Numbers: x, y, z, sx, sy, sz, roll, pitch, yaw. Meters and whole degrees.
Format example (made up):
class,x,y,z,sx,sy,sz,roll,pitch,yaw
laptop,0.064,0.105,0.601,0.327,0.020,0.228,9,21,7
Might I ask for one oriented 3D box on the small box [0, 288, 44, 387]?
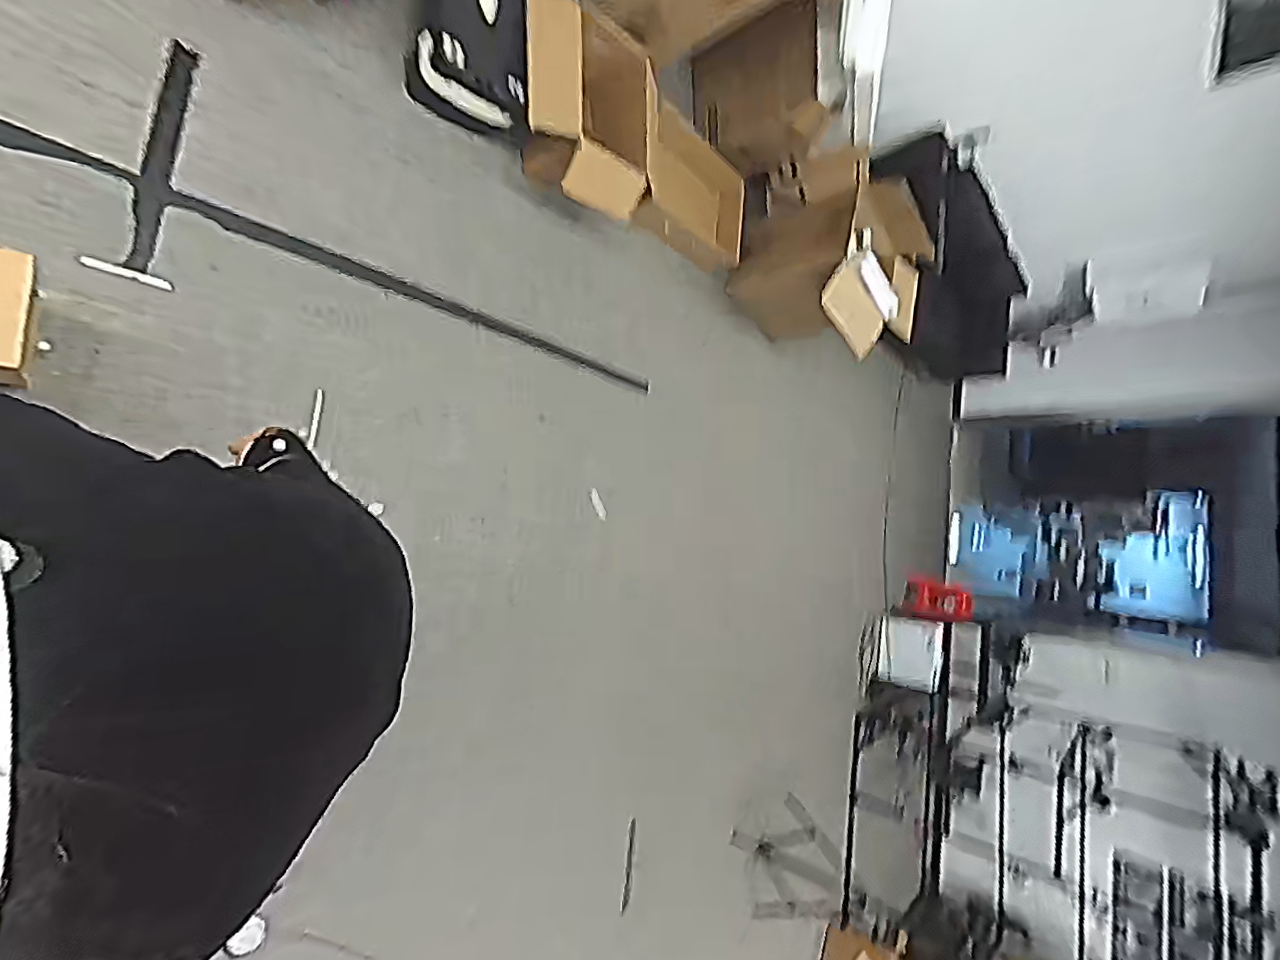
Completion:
class,x,y,z,sx,sy,sz,roll,pitch,yaw
small box,-1.148,-0.260,0.911,0.179,0.176,0.168,11,83,-47

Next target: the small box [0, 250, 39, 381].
class,x,y,z,sx,sy,sz,roll,pitch,yaw
small box,-1.027,-0.255,0.803,0.168,0.176,0.179,7,86,-45
